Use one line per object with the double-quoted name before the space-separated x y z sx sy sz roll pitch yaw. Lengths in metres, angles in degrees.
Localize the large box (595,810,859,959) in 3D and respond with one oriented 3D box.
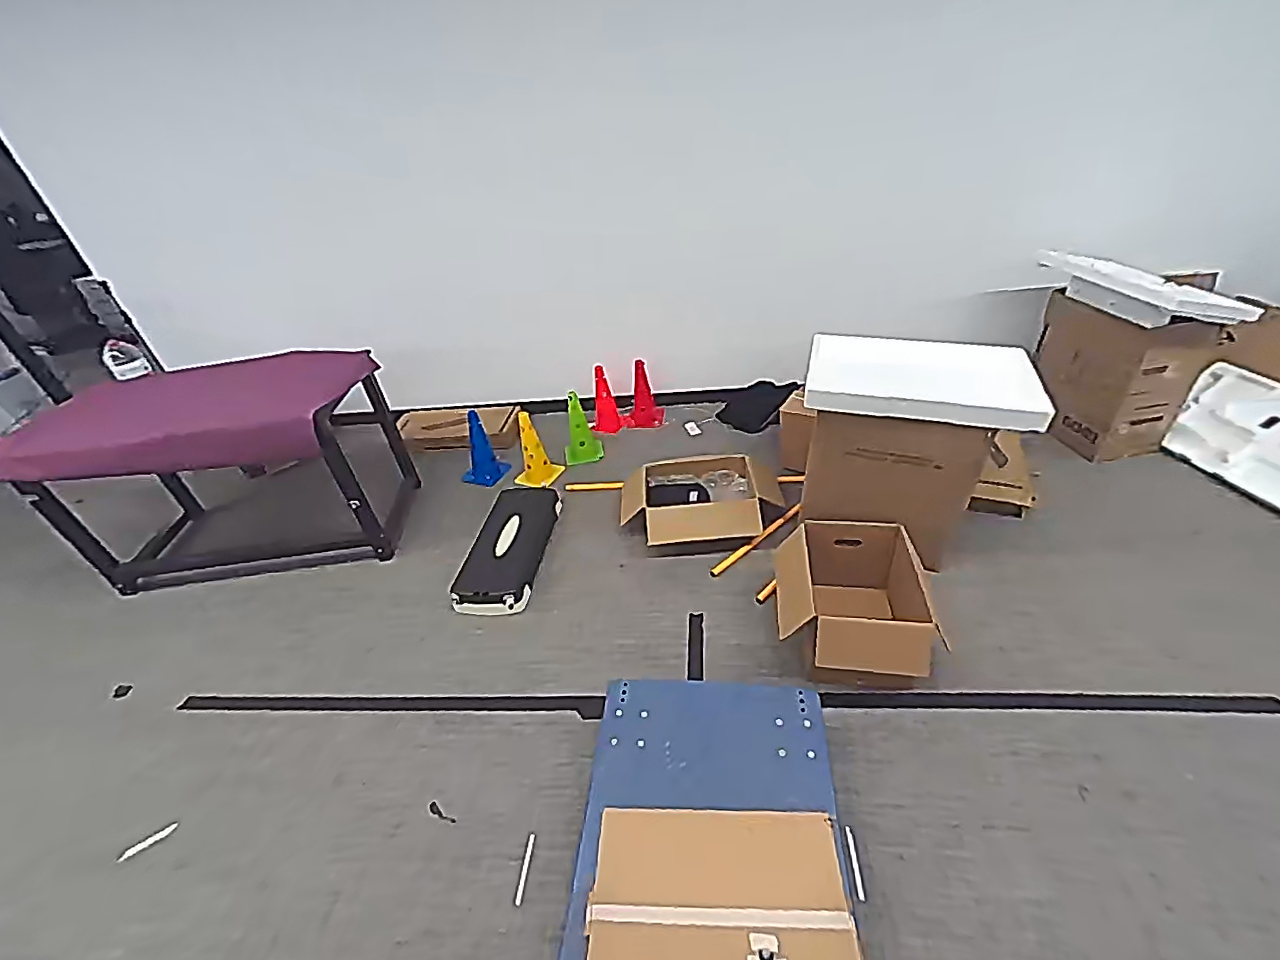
"large box" 0.140 0.810 0.940 0.408 0.320 0.320 -2 36 5
